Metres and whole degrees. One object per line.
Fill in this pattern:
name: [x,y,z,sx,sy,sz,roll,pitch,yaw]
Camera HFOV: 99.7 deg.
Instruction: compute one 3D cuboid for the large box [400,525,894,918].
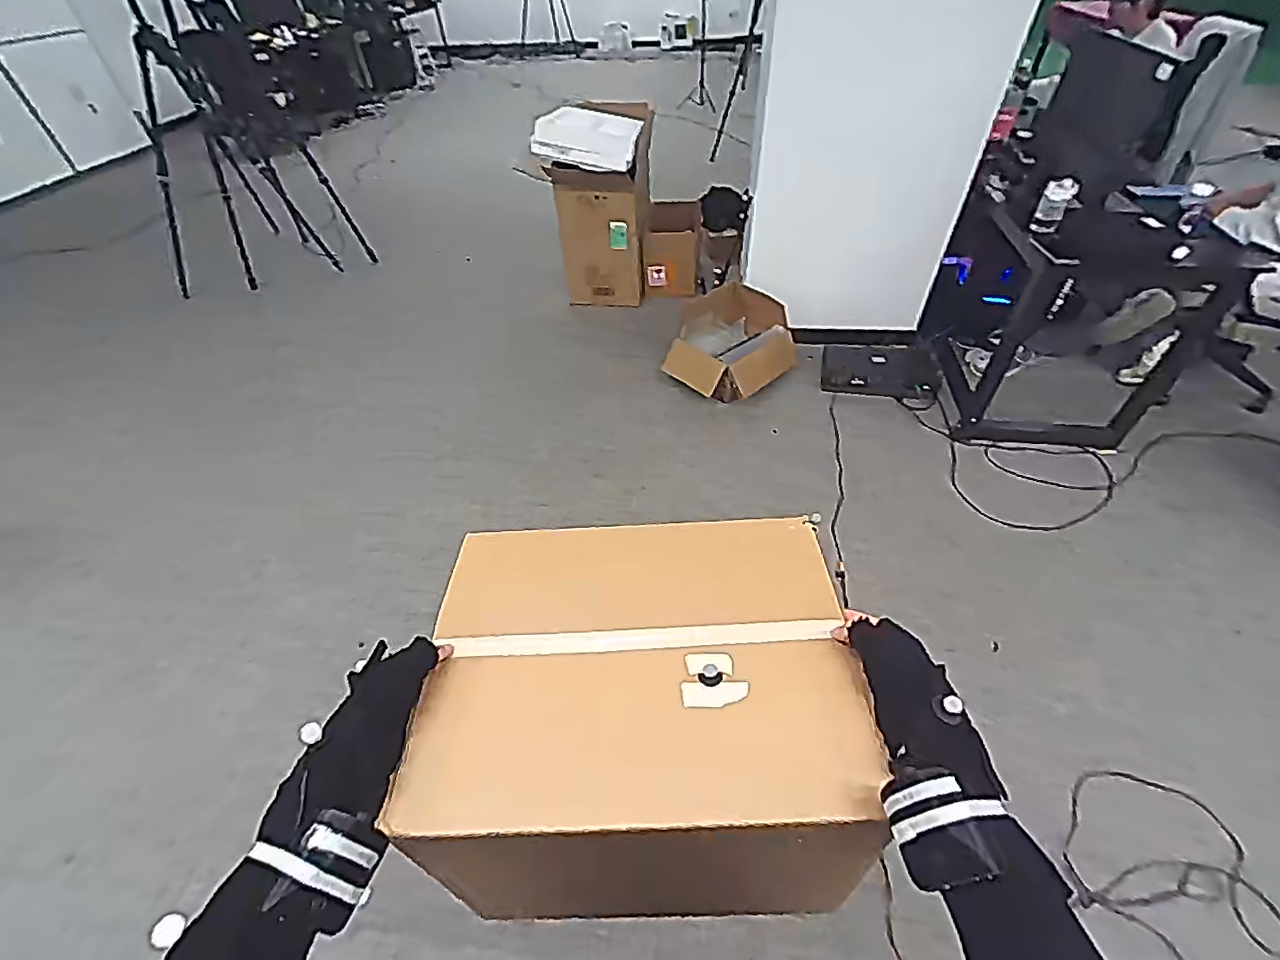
large box: [0.008,0.278,0.635,0.408,0.320,0.320,-3,41,2]
